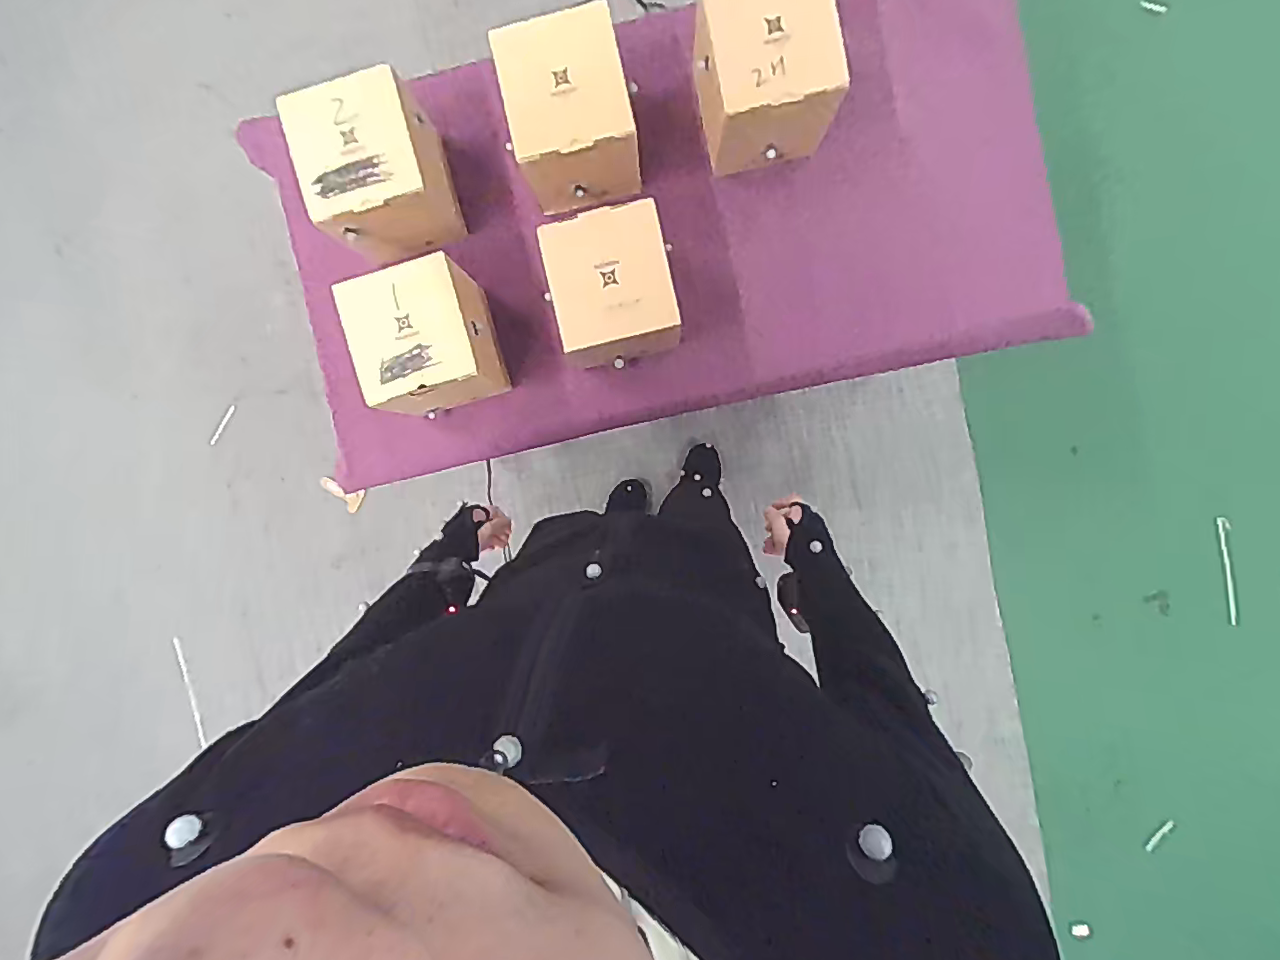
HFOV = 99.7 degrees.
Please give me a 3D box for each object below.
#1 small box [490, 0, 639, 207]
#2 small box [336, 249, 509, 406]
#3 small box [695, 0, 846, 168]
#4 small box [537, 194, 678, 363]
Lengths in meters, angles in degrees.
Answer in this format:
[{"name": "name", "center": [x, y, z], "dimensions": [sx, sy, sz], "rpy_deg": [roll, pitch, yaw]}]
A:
[{"name": "small box", "center": [-0.101, -0.541, 0.798], "dimensions": [0.168, 0.176, 0.179], "rpy_deg": [-13, 94, 4]}, {"name": "small box", "center": [-0.317, -0.217, 0.826], "dimensions": [0.168, 0.176, 0.179], "rpy_deg": [-16, 90, 4]}, {"name": "small box", "center": [0.175, -0.591, 0.777], "dimensions": [0.168, 0.176, 0.179], "rpy_deg": [-11, 93, 4]}, {"name": "small box", "center": [-0.041, -0.288, 0.810], "dimensions": [0.168, 0.176, 0.179], "rpy_deg": [-12, 93, 4]}]
